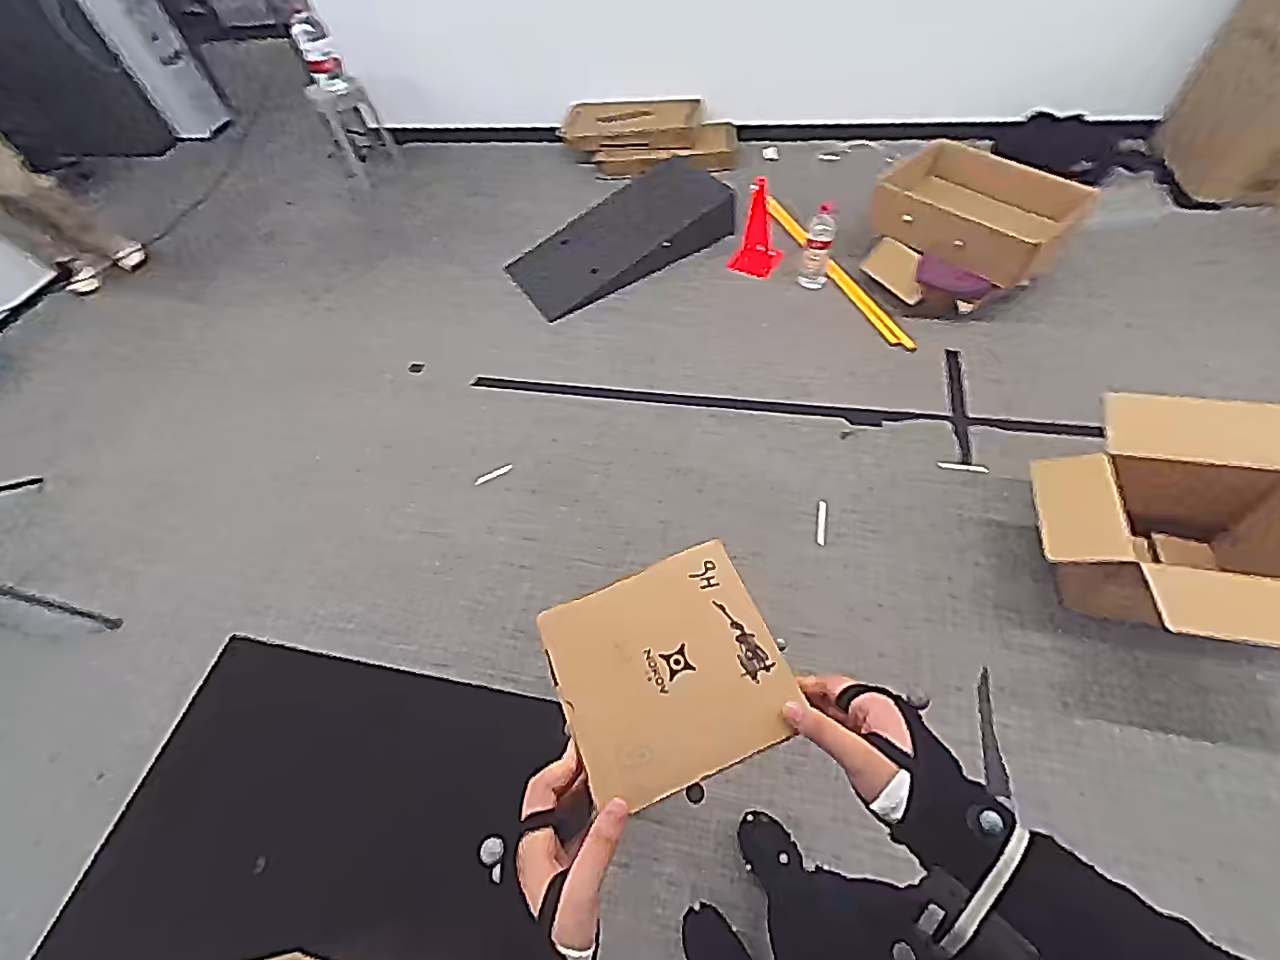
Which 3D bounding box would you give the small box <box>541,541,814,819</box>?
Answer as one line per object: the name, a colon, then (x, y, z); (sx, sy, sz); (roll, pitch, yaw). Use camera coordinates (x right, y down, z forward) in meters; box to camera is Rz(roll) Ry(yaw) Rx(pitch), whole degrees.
small box: (0.031, 0.188, 0.499); (0.179, 0.176, 0.168); (-21, 61, -7)
